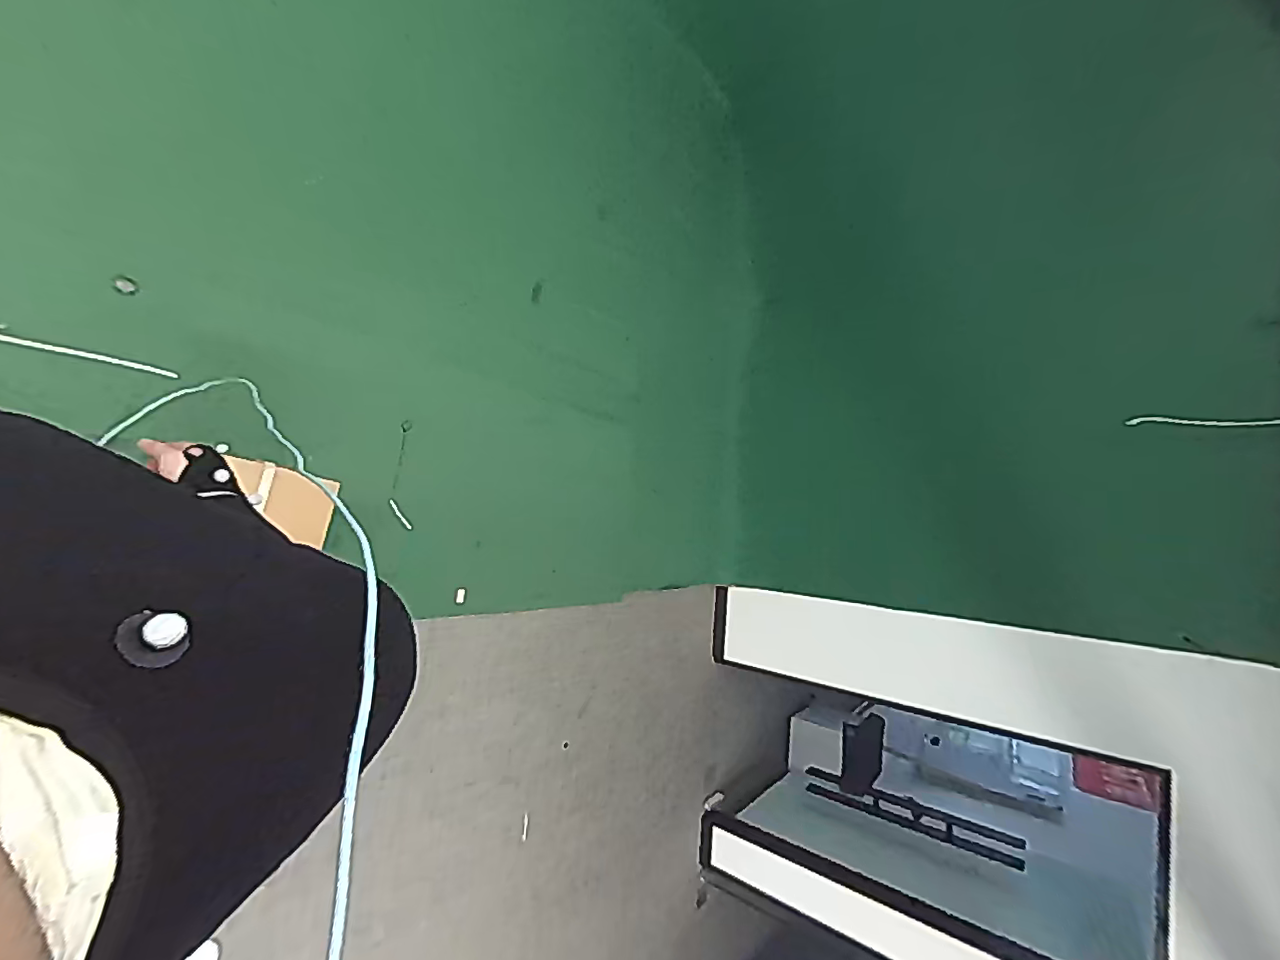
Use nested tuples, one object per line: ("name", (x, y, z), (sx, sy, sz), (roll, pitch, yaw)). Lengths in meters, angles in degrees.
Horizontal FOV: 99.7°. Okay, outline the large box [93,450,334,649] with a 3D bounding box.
("large box", (-0.986, 0.159, 1.265), (0.320, 0.320, 0.408), (22, 74, -50))
